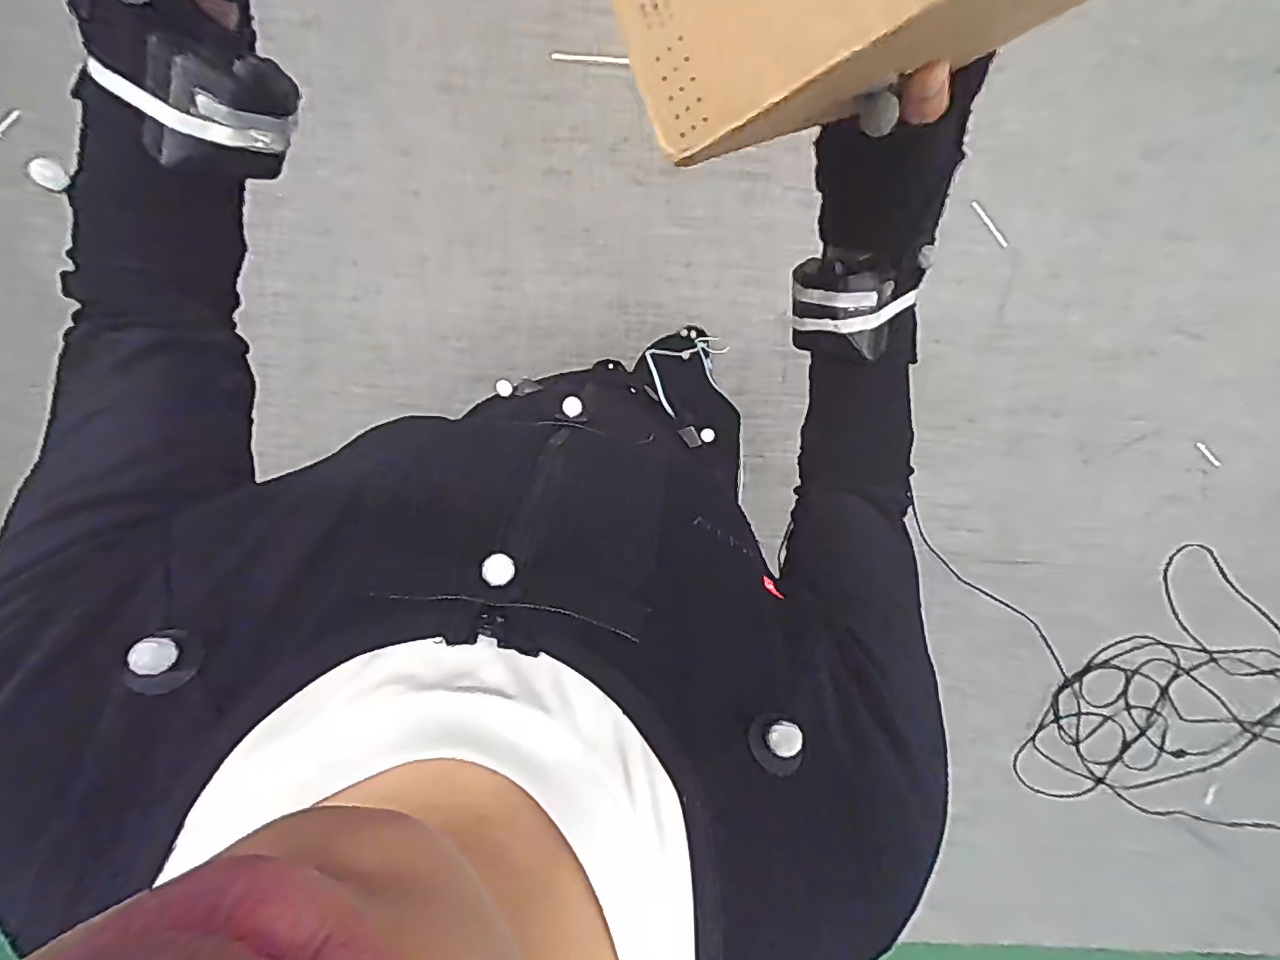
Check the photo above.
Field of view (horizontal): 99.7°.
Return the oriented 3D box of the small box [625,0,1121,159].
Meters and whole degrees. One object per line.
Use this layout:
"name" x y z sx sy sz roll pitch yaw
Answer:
"small box" 0.097 -0.227 0.163 0.179 0.176 0.168 -33 113 -28
